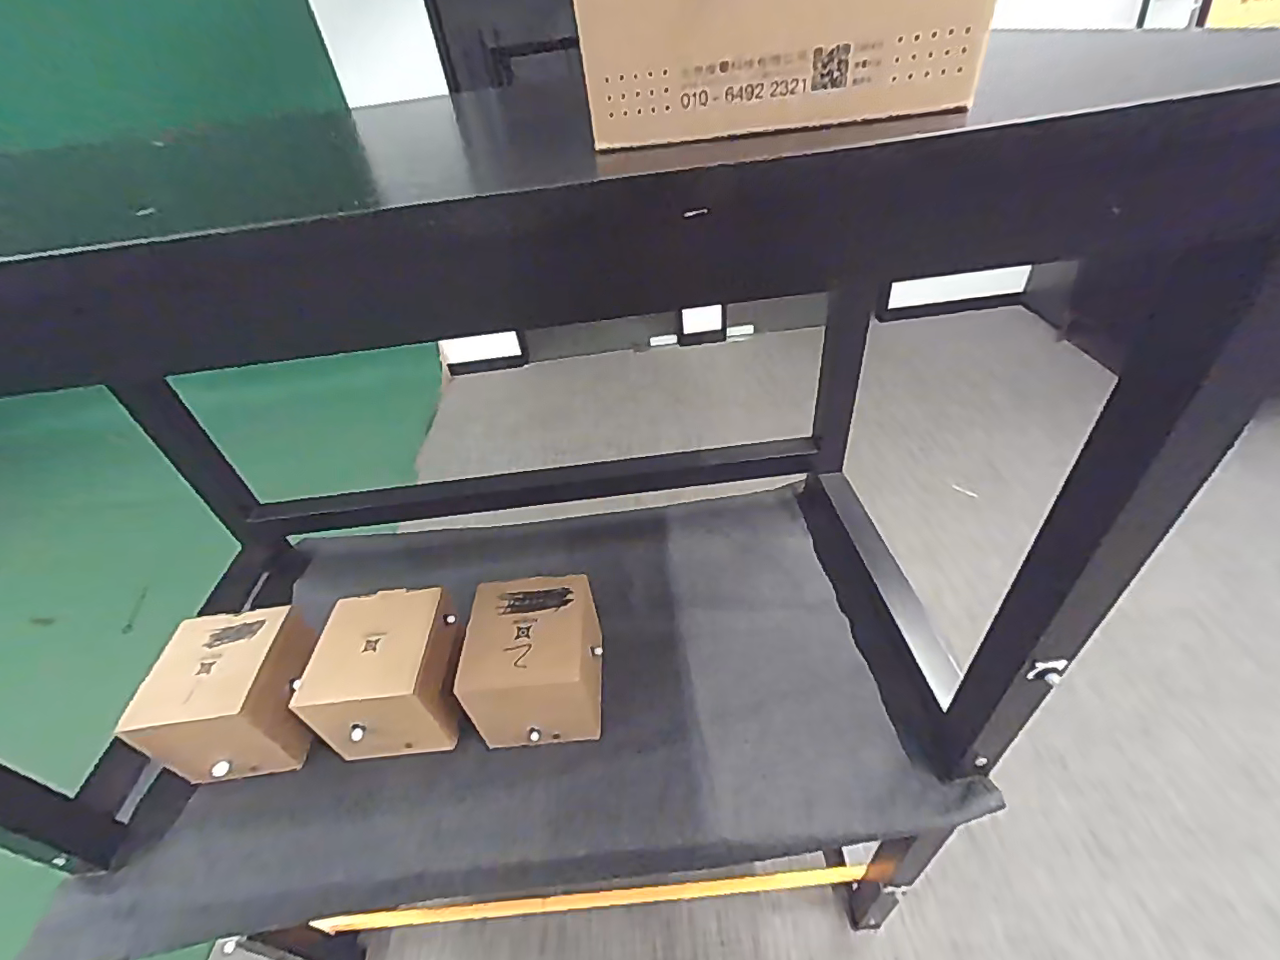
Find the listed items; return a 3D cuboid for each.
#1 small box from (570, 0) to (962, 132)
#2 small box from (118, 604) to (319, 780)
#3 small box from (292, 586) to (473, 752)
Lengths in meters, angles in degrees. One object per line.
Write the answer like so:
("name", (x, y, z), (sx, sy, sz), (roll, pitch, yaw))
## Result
("small box", (0.054, -0.277, 0.257), (0.168, 0.176, 0.179), (-1, 40, 8))
("small box", (-0.589, 0.314, 0.806), (0.168, 0.176, 0.179), (-8, 40, 0))
("small box", (-0.363, 0.286, 0.805), (0.168, 0.176, 0.179), (-6, 39, 1))
